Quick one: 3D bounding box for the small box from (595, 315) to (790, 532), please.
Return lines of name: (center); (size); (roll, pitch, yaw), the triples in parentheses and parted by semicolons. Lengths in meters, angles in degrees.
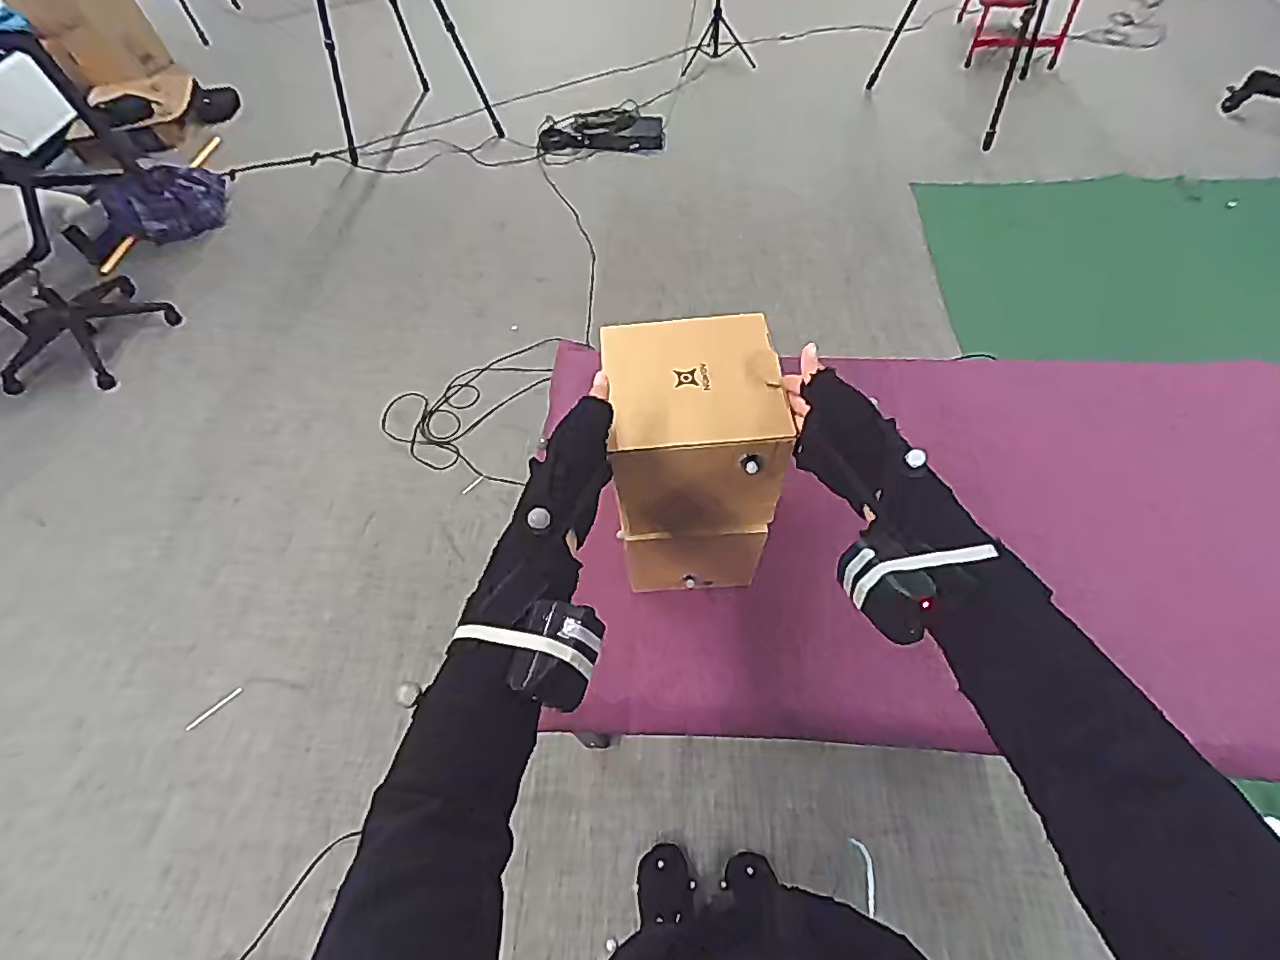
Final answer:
small box: (0.050, -0.054, 0.594); (0.179, 0.176, 0.168); (-5, 57, 0)
